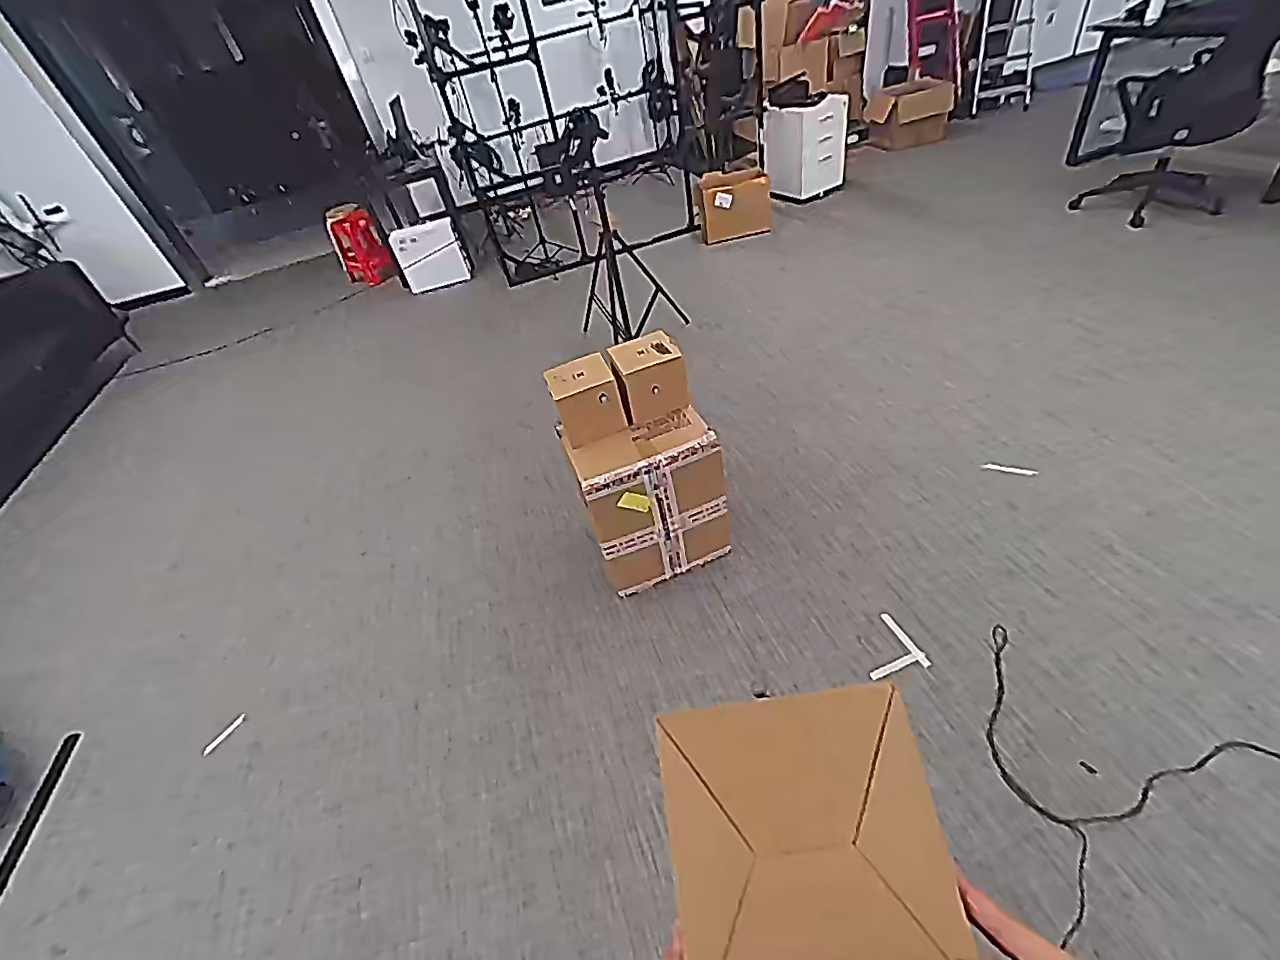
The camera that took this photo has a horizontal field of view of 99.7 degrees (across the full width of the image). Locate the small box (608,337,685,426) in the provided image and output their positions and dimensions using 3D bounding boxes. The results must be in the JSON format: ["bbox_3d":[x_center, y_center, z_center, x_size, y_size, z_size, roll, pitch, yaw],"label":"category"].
[{"bbox_3d":[0.024,-0.284,1.568,0.179,0.176,0.168,-20,43,-8],"label":"small box"}]

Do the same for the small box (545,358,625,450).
[{"bbox_3d":[-0.151,-0.215,1.540,0.179,0.176,0.168,-22,42,-5],"label":"small box"}]
